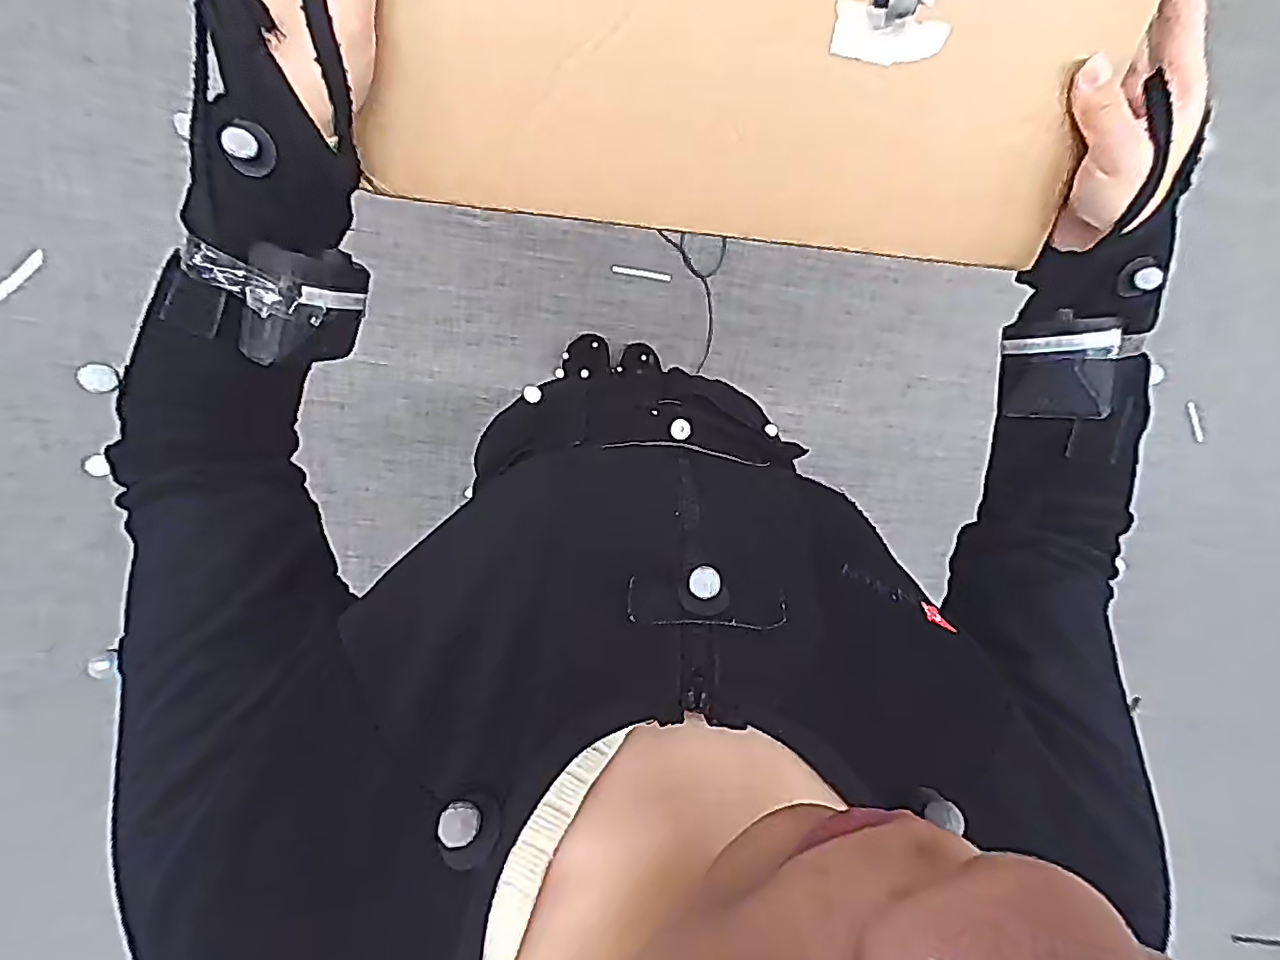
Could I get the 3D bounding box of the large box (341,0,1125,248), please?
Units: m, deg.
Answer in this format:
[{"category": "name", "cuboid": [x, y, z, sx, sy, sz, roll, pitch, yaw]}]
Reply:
[{"category": "large box", "cuboid": [0.046, -0.364, 0.369, 0.408, 0.320, 0.320, 3, 123, -8]}]
